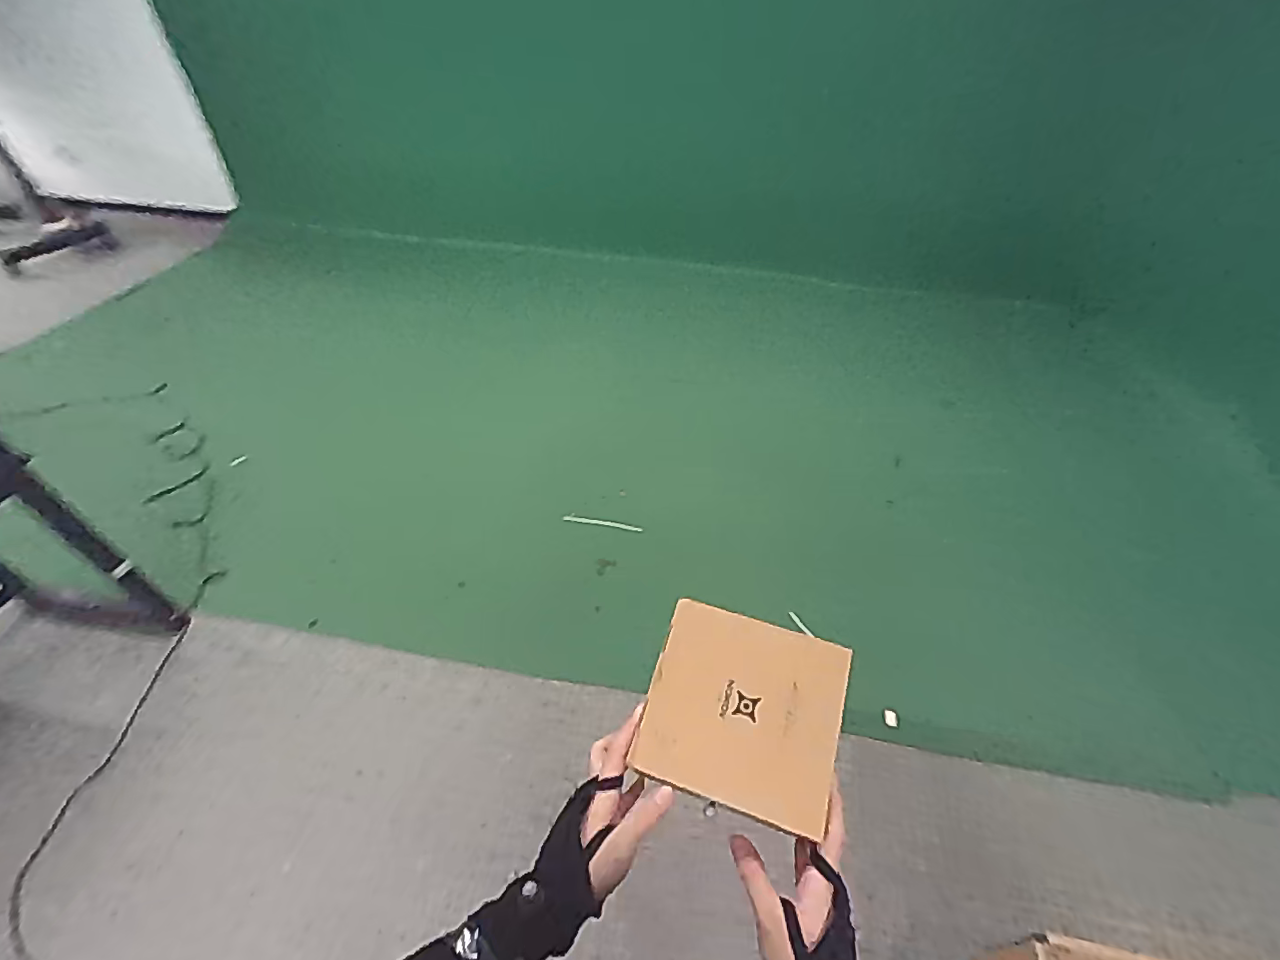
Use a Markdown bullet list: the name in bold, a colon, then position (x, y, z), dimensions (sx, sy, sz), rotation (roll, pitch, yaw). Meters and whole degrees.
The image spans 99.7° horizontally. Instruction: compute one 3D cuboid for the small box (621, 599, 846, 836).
- **small box**: position (0.099, 0.251, 0.568), dimensions (0.179, 0.176, 0.168), rotation (14, 61, 15)
